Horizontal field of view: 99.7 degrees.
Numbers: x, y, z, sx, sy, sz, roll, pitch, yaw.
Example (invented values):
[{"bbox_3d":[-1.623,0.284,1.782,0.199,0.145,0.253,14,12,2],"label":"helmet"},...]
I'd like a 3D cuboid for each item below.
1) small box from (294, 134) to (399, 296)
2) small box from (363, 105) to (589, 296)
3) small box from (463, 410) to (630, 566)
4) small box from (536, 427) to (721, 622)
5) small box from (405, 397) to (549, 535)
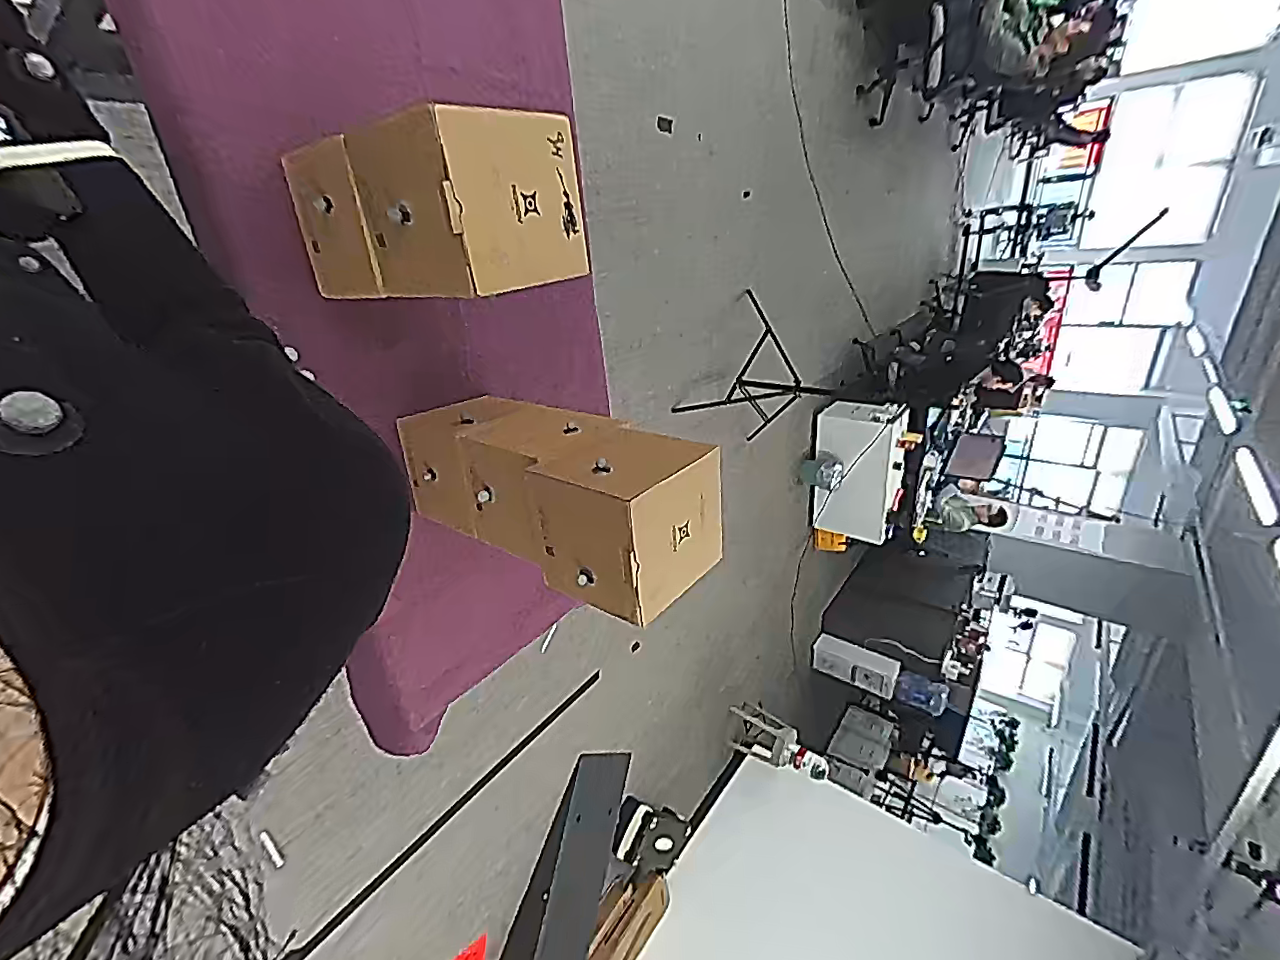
[{"bbox_3d":[-0.319,-0.335,0.707,0.179,0.176,0.168,-31,125,-46],"label":"small box"},{"bbox_3d":[-0.186,-0.307,0.616,0.179,0.176,0.168,-33,127,-44],"label":"small box"},{"bbox_3d":[-0.129,0.001,0.793,0.179,0.176,0.168,-28,123,-45],"label":"small box"},{"bbox_3d":[-0.015,0.043,0.683,0.179,0.176,0.168,-32,127,-44],"label":"small box"},{"bbox_3d":[-0.260,-0.032,0.886,0.179,0.176,0.168,-28,123,-46],"label":"small box"}]
